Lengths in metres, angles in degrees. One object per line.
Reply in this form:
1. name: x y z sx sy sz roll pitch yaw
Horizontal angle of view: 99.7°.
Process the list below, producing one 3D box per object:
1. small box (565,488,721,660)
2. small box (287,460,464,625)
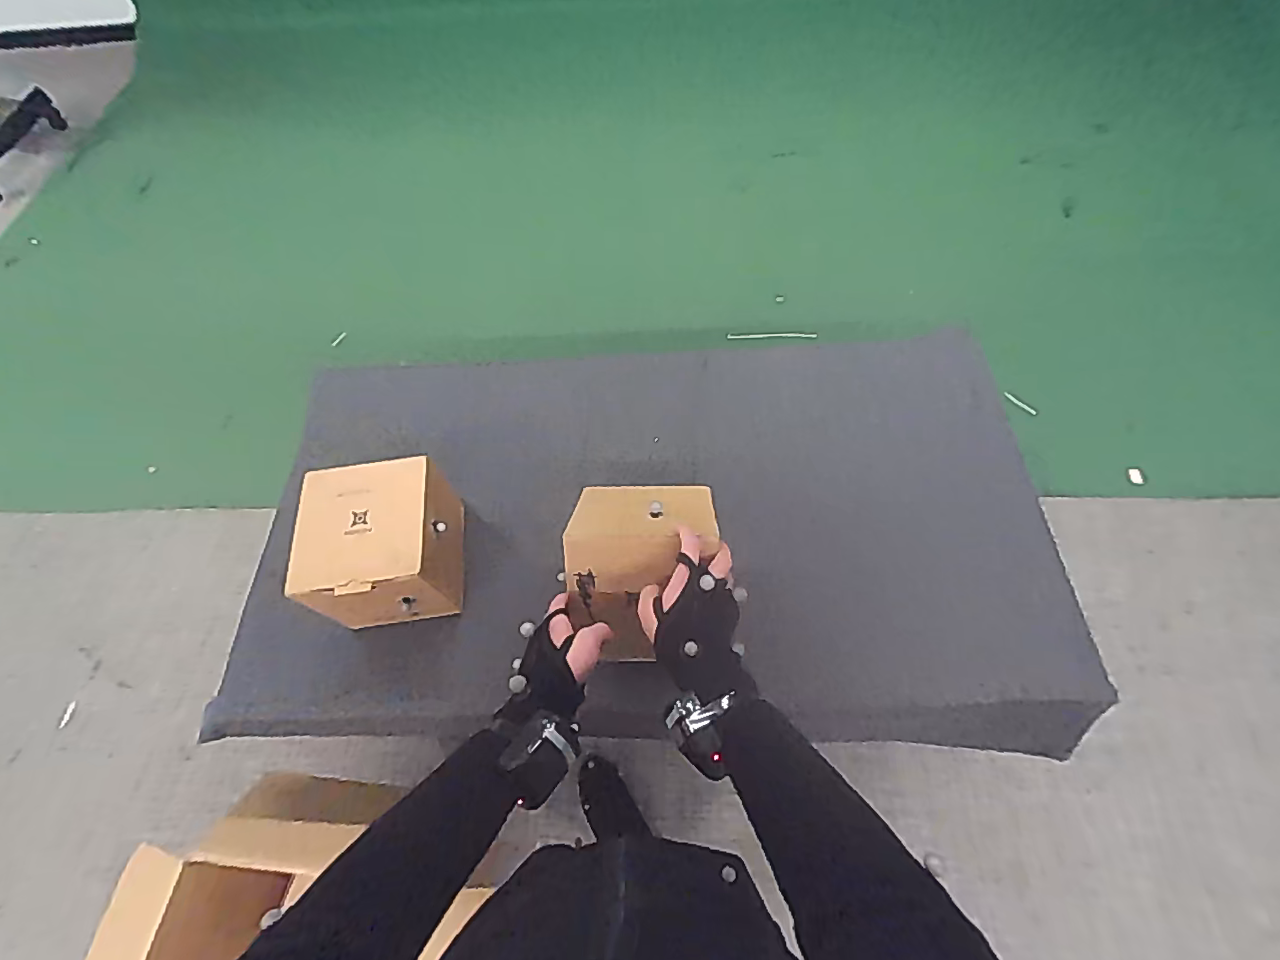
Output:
1. small box: 0.007 0.112 0.699 0.179 0.168 0.176 -1 17 3
2. small box: -0.356 0.097 0.766 0.168 0.176 0.179 -9 60 -3
